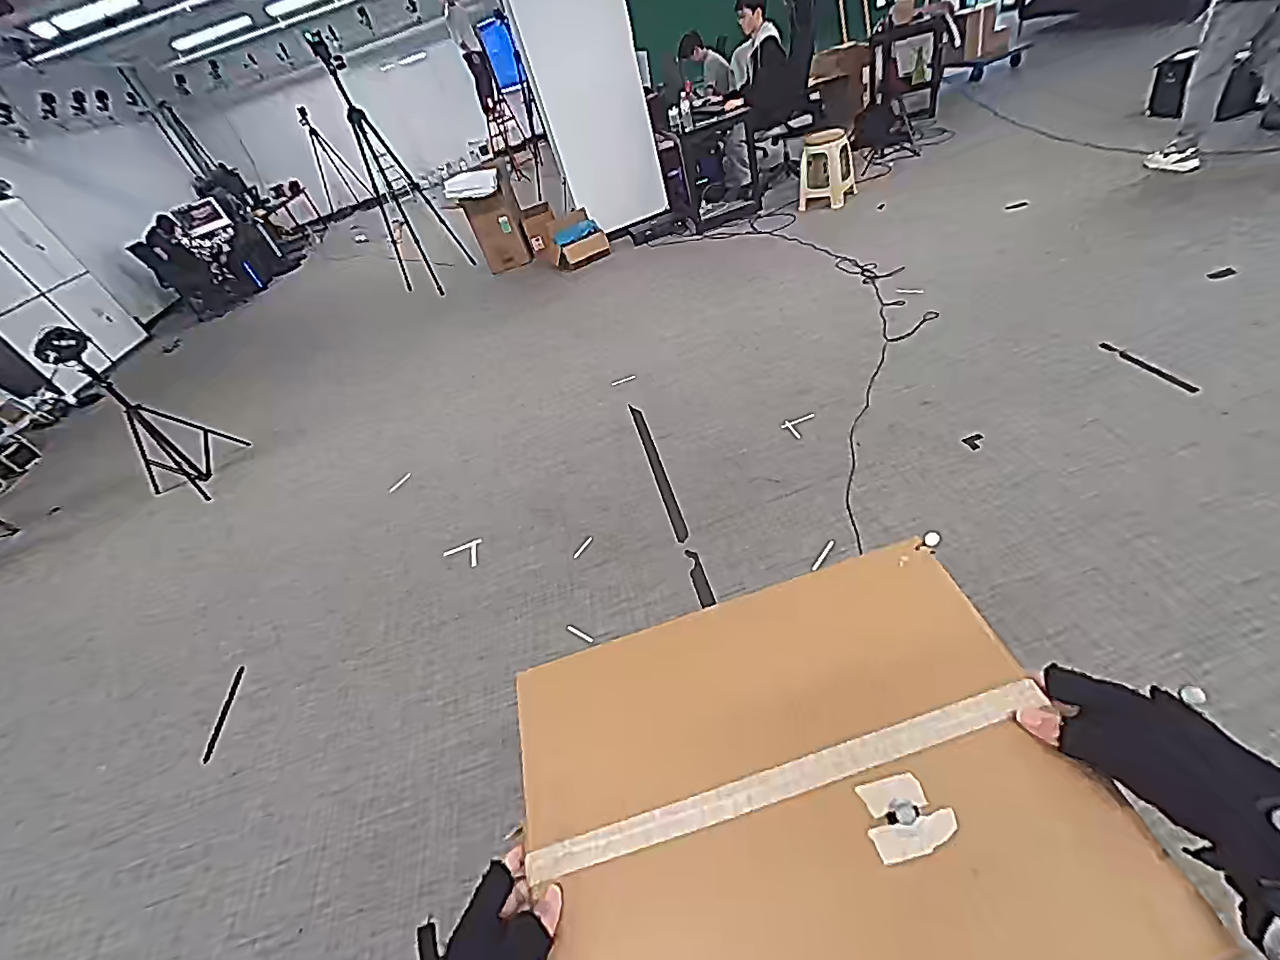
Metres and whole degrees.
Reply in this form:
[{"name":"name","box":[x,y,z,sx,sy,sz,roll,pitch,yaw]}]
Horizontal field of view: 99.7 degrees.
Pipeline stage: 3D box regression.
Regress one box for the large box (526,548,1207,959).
[{"name":"large box","box":[0.146,0.332,0.524,0.408,0.320,0.320,-19,47,-1]}]
